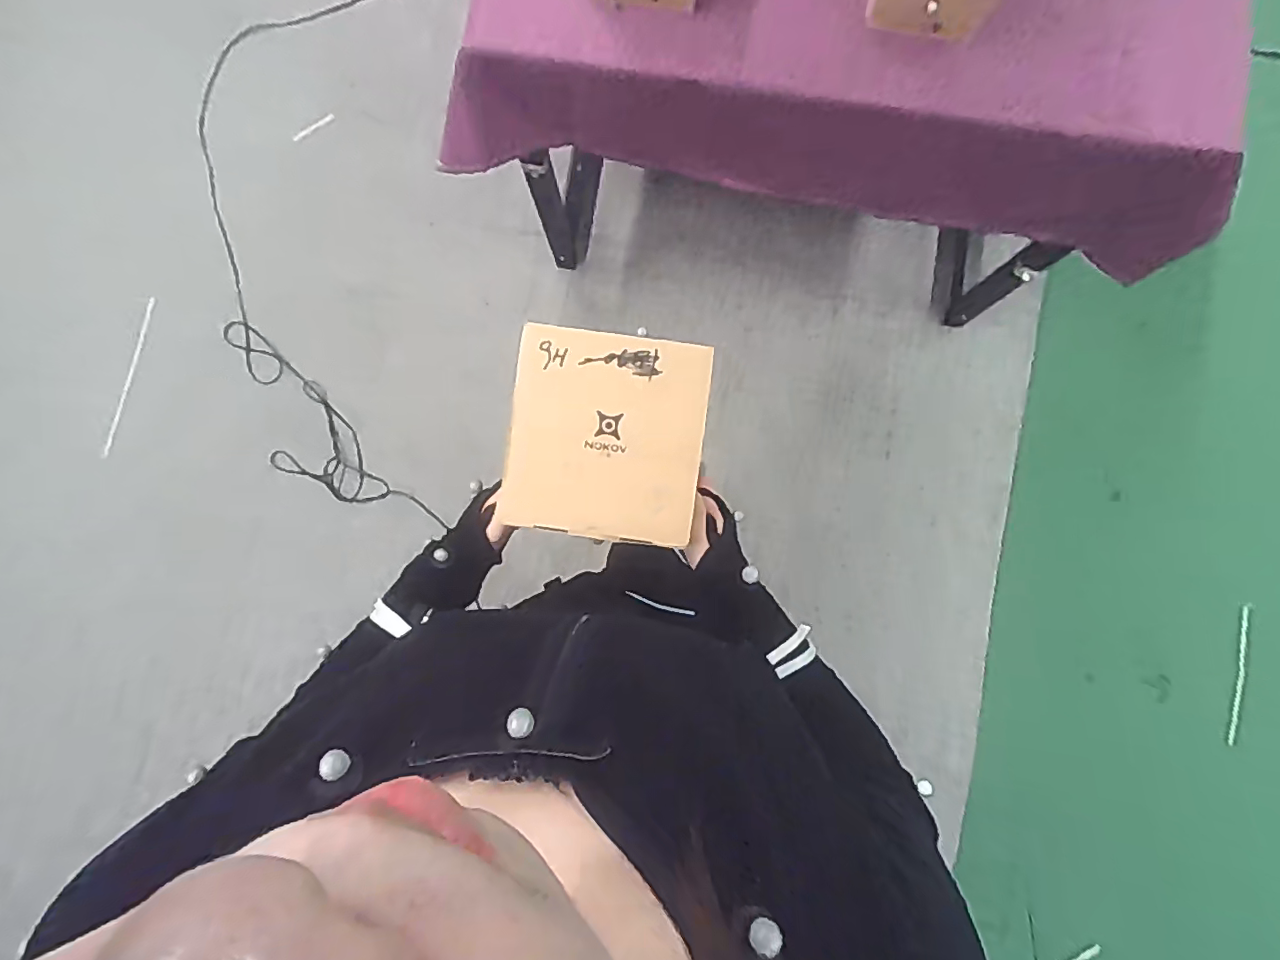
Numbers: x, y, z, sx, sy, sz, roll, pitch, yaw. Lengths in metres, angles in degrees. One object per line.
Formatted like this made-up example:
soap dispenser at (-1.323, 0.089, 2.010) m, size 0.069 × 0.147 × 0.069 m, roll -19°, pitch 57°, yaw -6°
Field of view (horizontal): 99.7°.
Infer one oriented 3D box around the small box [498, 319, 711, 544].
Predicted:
small box at (-0.031, -0.043, 0.541) m, size 0.168 × 0.176 × 0.179 m, roll 7°, pitch 91°, yaw 0°

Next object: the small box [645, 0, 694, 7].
small box at (0.016, -0.837, 0.777) m, size 0.168 × 0.176 × 0.179 m, roll 9°, pitch 84°, yaw 2°

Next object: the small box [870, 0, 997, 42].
small box at (0.446, -0.780, 0.762) m, size 0.168 × 0.176 × 0.179 m, roll 12°, pitch 85°, yaw 3°
